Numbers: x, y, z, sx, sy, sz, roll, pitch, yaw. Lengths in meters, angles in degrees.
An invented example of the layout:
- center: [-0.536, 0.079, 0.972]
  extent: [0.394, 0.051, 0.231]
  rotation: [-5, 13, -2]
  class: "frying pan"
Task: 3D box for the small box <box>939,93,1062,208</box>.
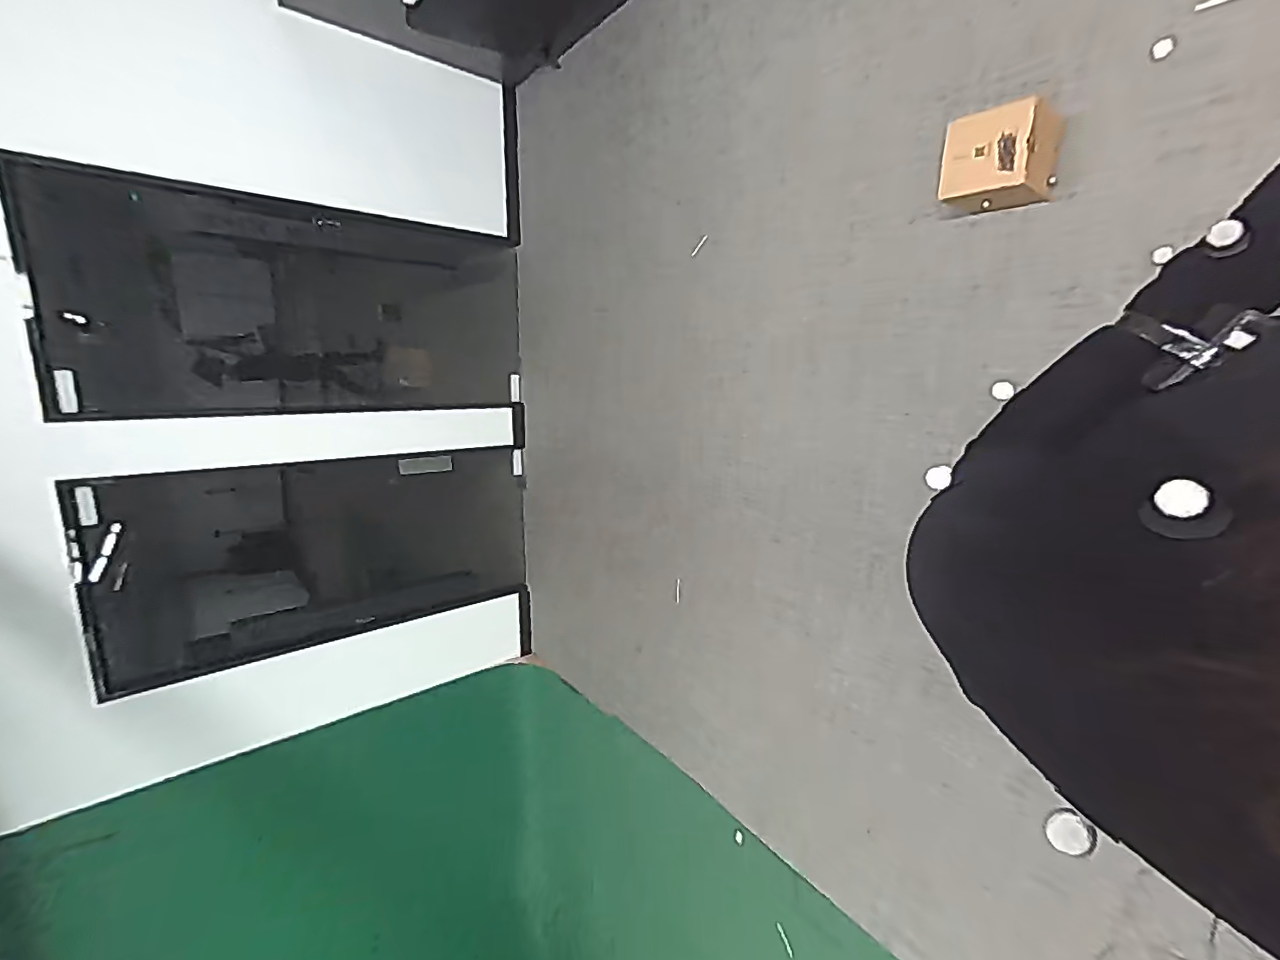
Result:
- center: [0.809, -0.726, 1.212]
  extent: [0.179, 0.176, 0.168]
  rotation: [18, 110, 50]
  class: "small box"
